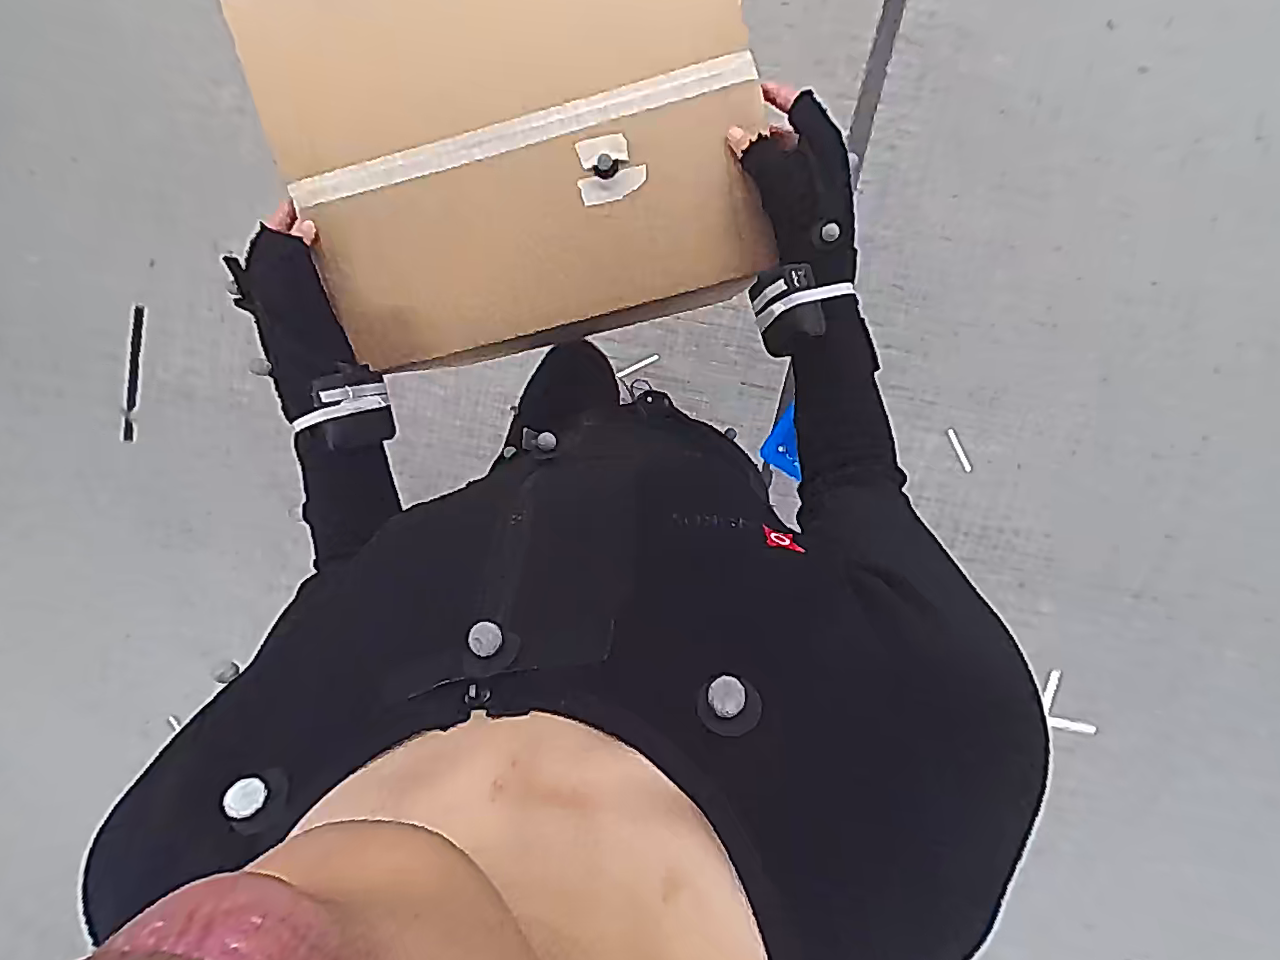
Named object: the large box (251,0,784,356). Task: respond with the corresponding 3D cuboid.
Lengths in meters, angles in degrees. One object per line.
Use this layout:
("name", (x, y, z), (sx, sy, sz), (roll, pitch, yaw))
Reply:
("large box", (-0.096, -0.338, 0.608), (0.408, 0.320, 0.320), (-13, 103, 3))

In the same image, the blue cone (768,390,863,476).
("blue cone", (0.436, -0.096, 1.252), (0.193, 0.380, 0.192), (34, 100, 0))
